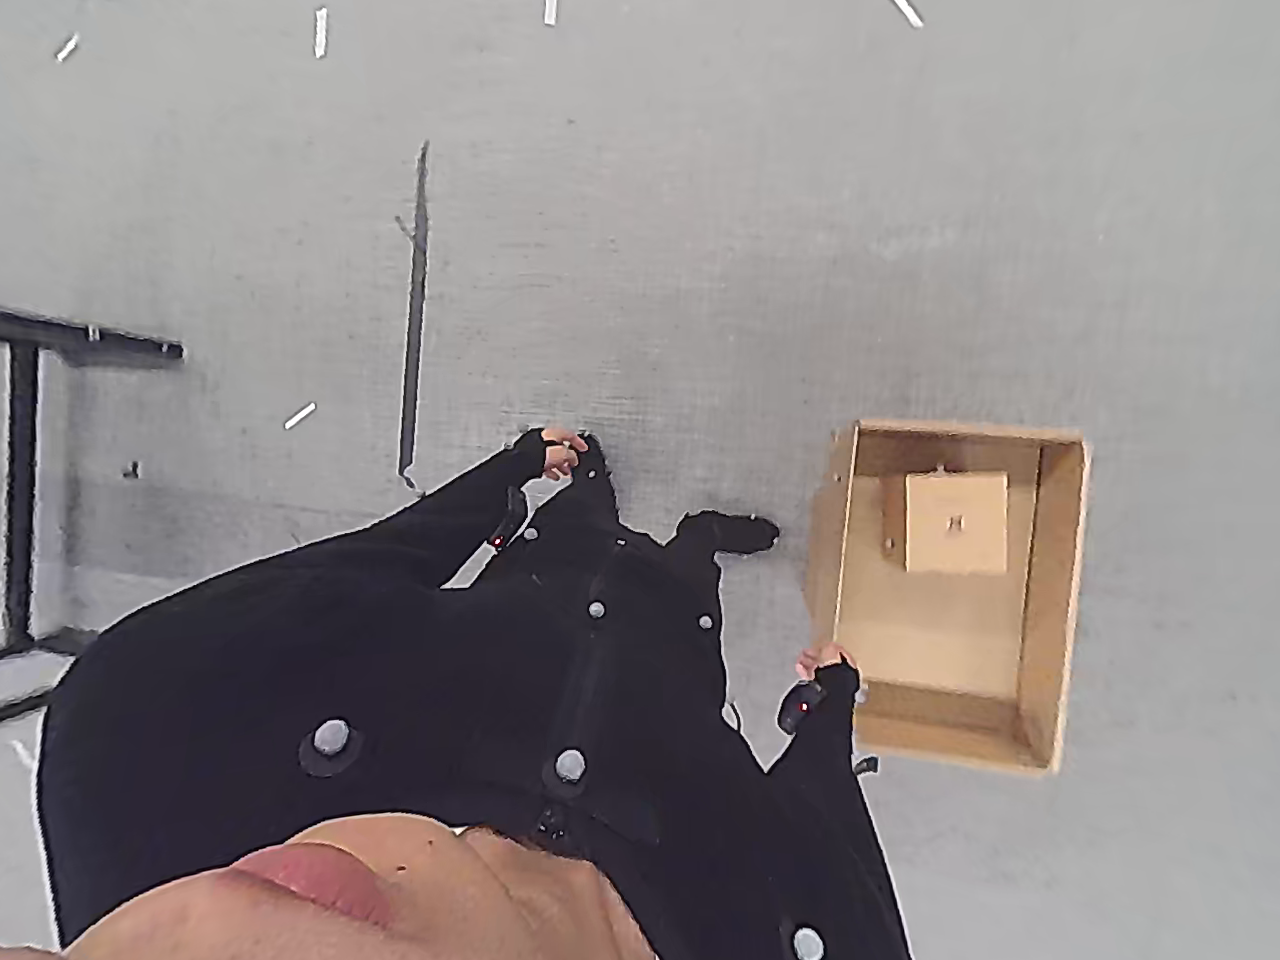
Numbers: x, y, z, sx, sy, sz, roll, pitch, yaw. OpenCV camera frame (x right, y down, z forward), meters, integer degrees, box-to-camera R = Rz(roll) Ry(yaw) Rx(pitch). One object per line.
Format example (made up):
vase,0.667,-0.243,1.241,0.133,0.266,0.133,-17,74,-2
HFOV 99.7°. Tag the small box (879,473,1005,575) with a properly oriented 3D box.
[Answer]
small box,0.564,0.075,1.031,0.168,0.176,0.179,0,91,9
